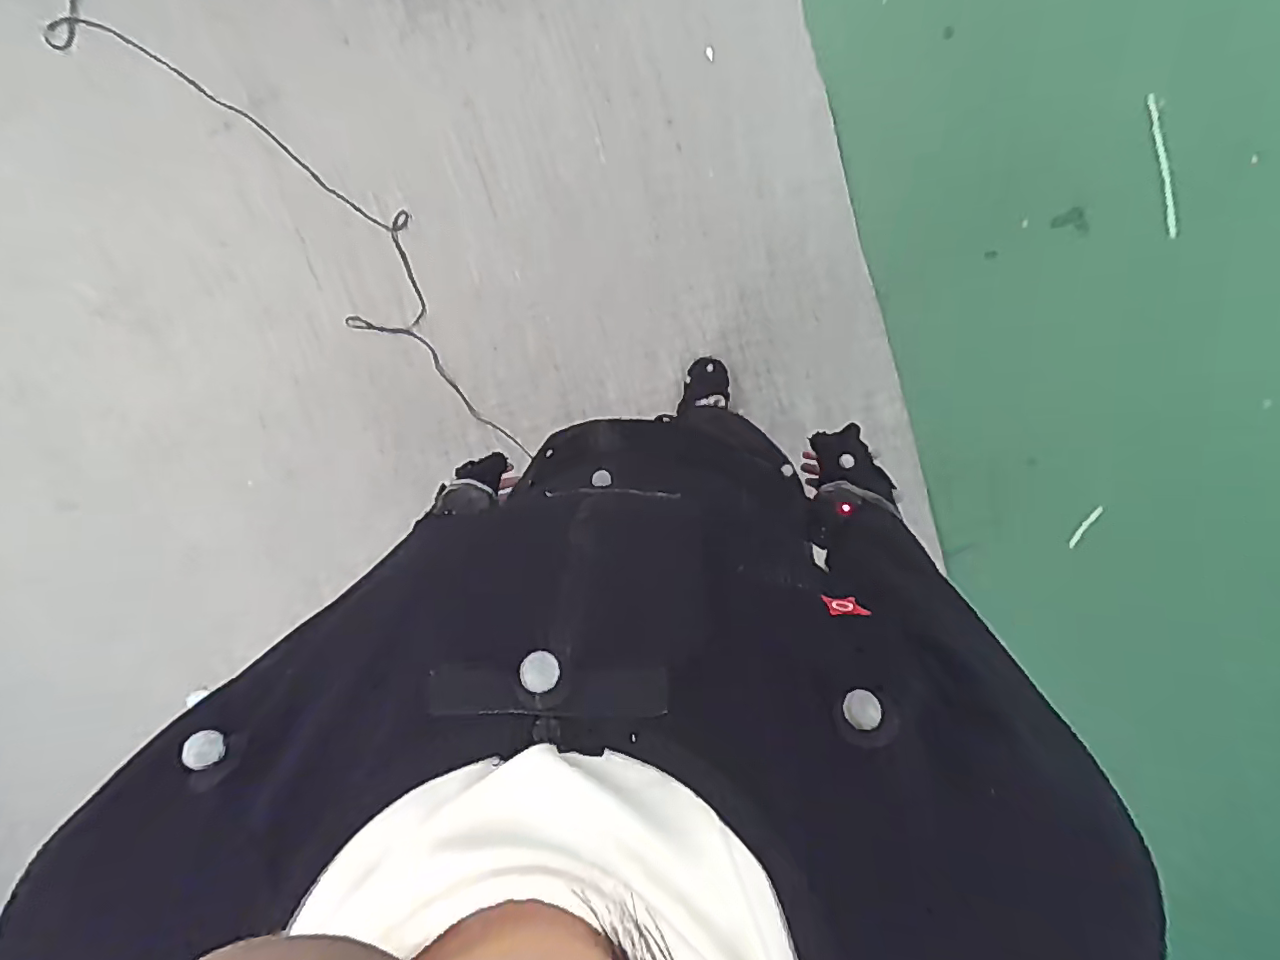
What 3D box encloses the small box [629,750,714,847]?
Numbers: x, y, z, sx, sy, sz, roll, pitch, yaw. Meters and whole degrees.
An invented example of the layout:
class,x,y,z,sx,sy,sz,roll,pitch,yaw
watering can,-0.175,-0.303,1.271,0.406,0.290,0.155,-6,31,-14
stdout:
class,x,y,z,sx,sy,sz,roll,pitch,yaw
small box,0.085,0.852,1.429,0.179,0.176,0.168,-18,98,6
